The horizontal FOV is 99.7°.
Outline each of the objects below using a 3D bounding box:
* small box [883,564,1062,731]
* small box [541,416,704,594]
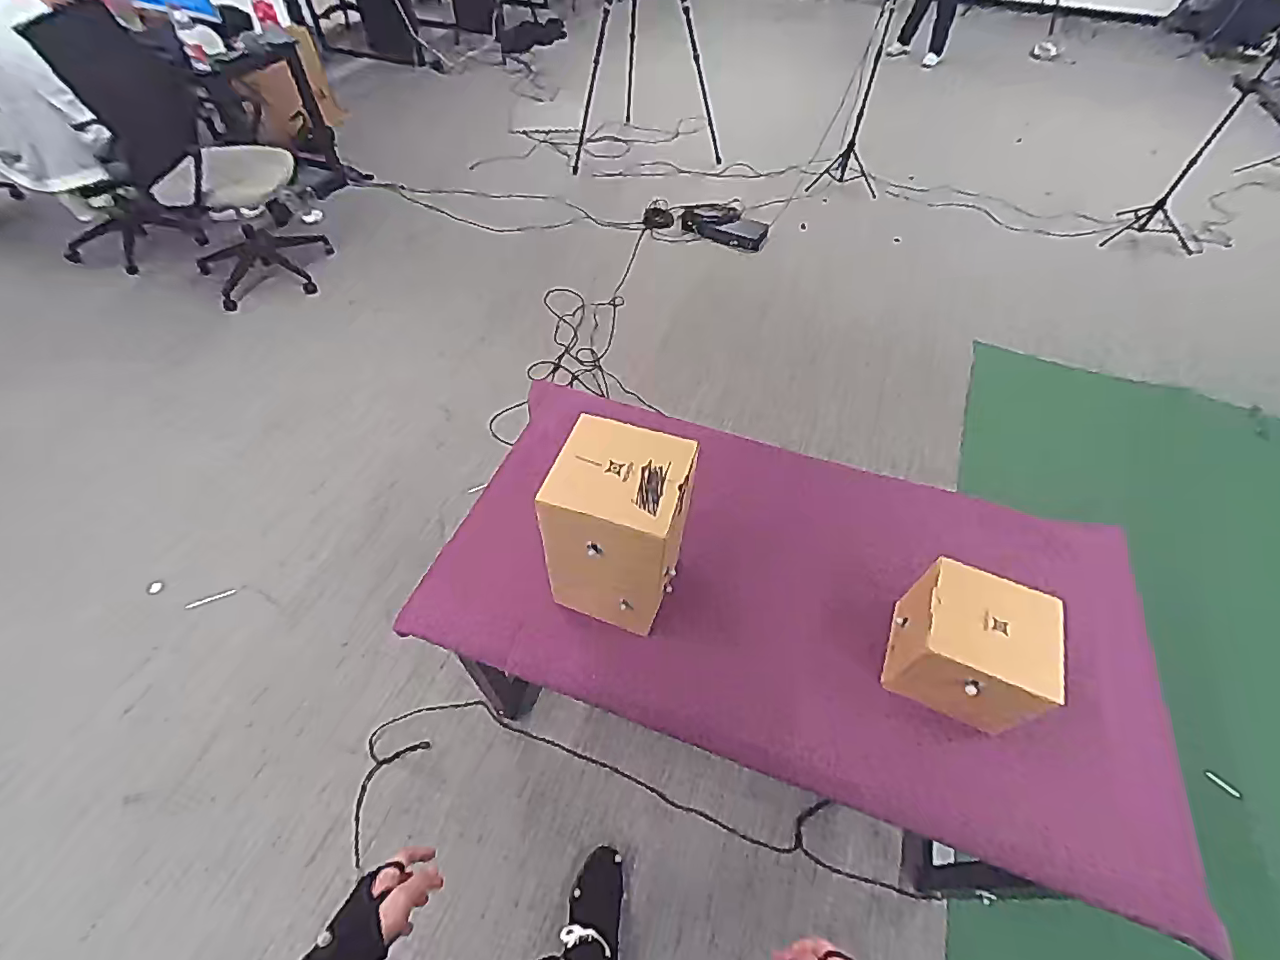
[{"bbox_3d":[0.506,0.264,0.835,0.179,0.176,0.168,21,54,15],"label":"small box"},{"bbox_3d":[-0.021,0.041,0.771,0.179,0.176,0.168,16,53,10],"label":"small box"}]
